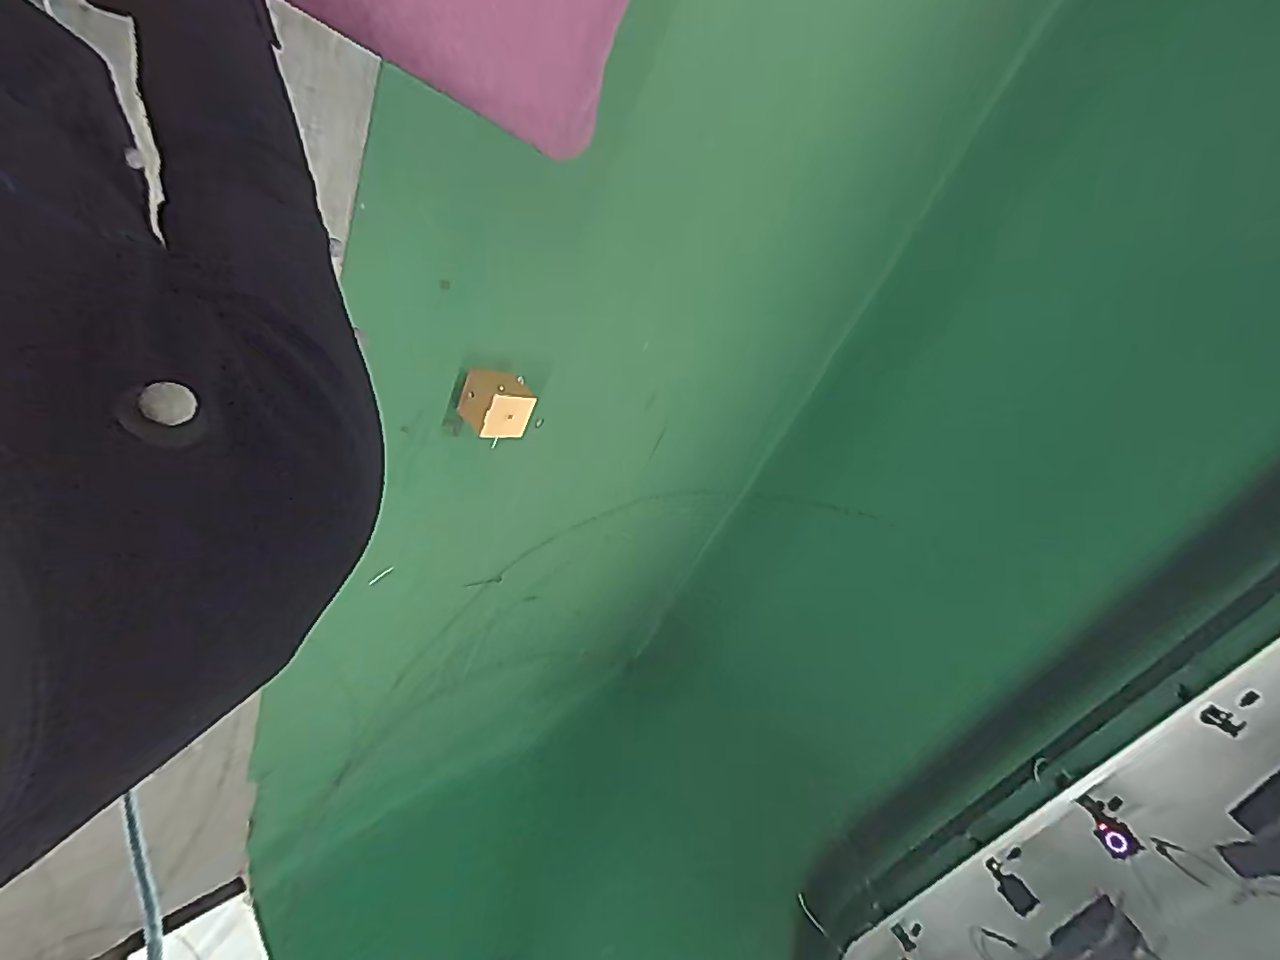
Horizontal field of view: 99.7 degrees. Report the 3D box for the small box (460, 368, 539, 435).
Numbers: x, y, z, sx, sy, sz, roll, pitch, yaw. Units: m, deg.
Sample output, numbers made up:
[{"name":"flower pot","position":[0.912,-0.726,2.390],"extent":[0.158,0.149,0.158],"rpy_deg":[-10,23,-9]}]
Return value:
[{"name":"small box","position":[-0.489,-0.271,1.869],"extent":[0.179,0.176,0.168],"rpy_deg":[-5,131,-50]}]
